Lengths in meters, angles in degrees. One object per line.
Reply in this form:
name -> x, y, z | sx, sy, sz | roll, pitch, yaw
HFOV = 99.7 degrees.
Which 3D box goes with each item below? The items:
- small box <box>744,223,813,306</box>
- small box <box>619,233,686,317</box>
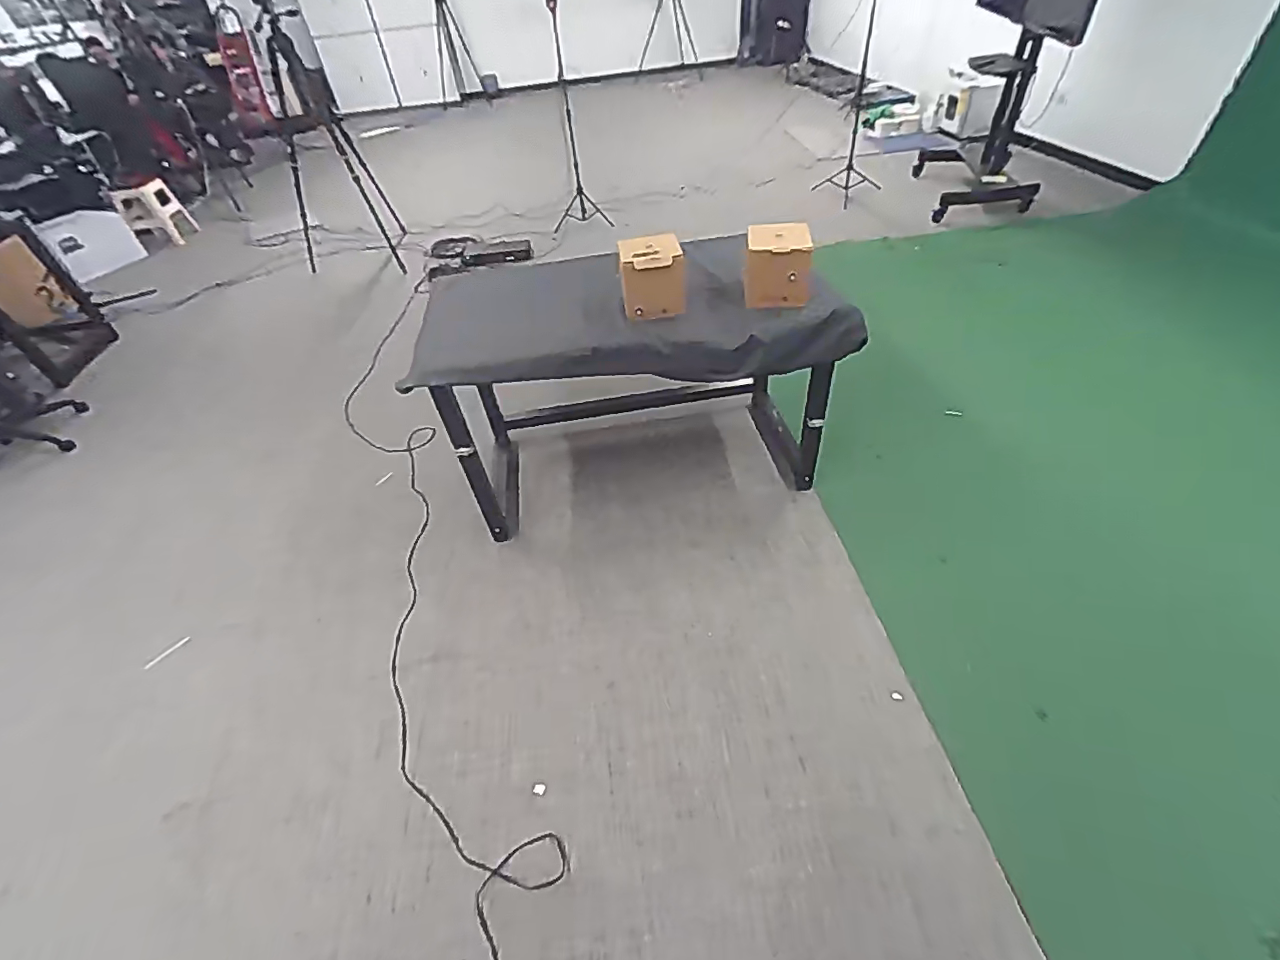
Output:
small box -> 0.381, -0.598, 1.511 | 0.168, 0.176, 0.179 | 1, 43, 7
small box -> 0.035, -0.572, 1.526 | 0.168, 0.176, 0.179 | -7, 43, -1
